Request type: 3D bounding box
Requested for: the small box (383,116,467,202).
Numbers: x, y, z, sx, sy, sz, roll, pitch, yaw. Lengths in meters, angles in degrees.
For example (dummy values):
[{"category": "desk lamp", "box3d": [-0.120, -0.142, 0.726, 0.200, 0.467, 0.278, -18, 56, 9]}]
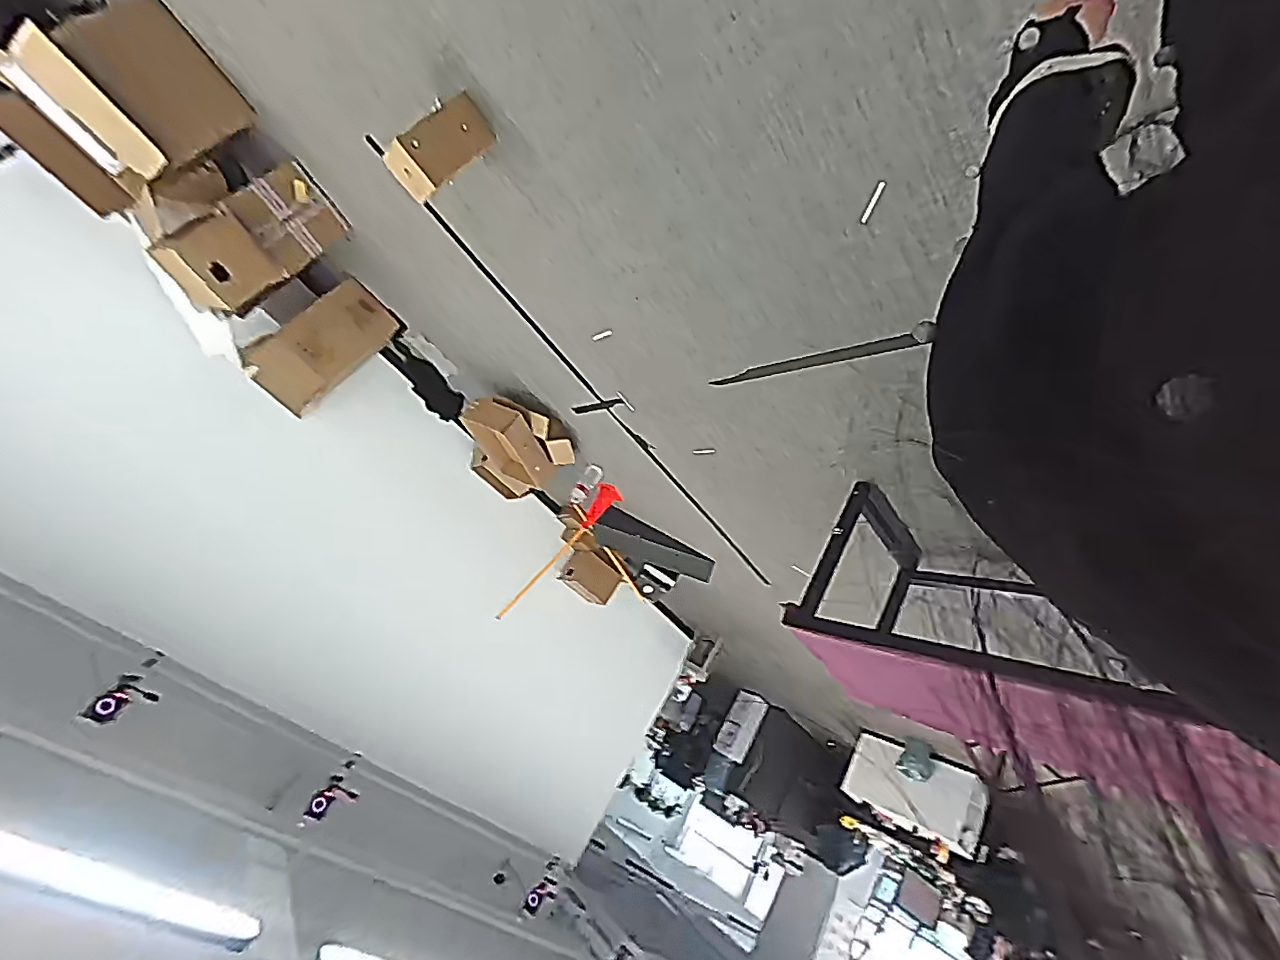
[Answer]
[{"category": "small box", "box3d": [-0.734, -1.103, 1.848, 0.168, 0.176, 0.179, 4, 143, 51]}]
